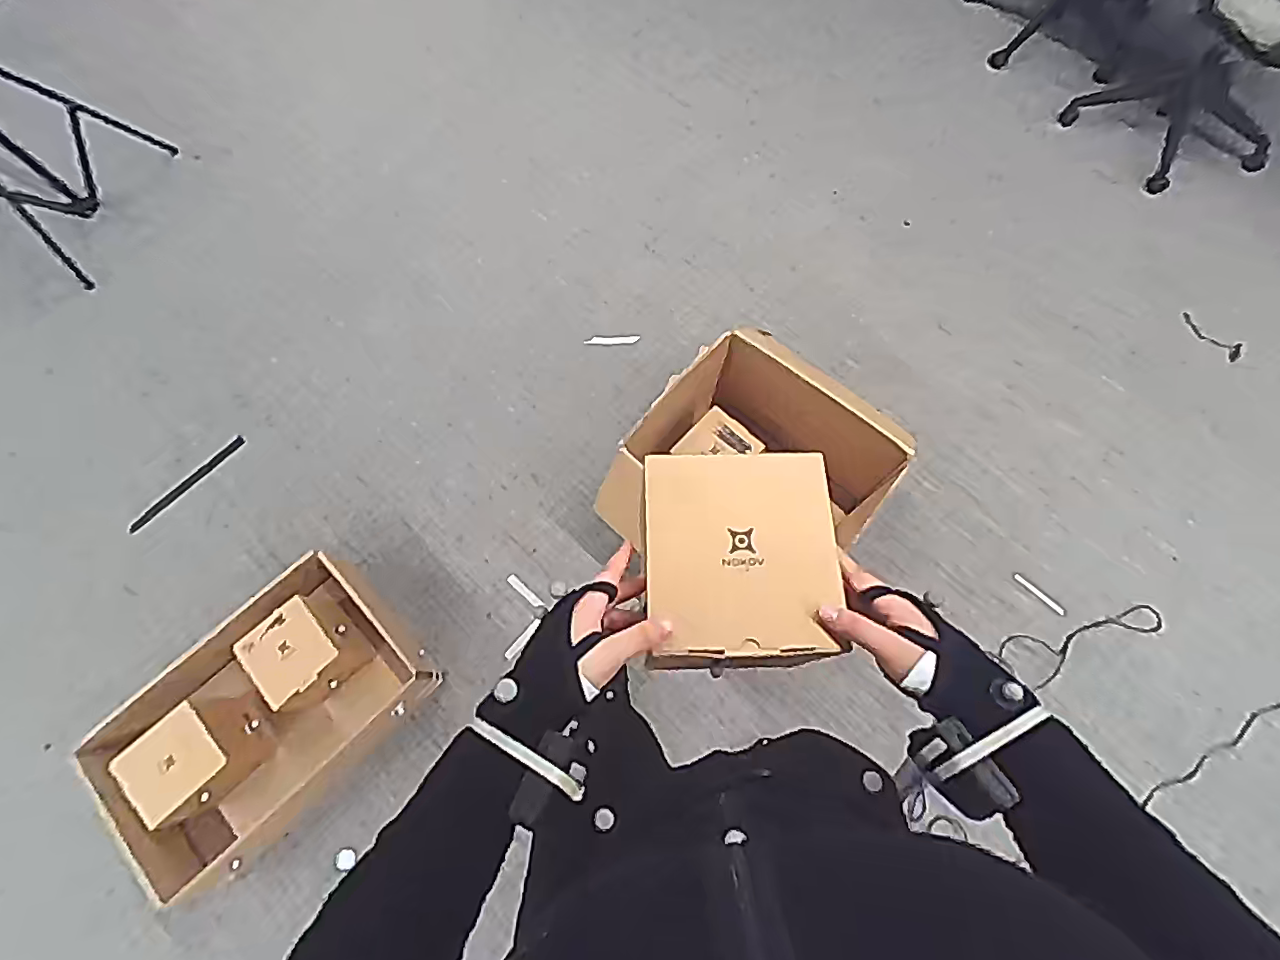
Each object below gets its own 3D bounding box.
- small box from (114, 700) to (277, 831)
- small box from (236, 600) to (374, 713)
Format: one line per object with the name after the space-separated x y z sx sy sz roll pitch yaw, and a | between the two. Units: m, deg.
-0.942 0.600 1.164 0.168 0.176 0.179 43 75 12 | small box
-0.748 0.395 1.231 0.168 0.176 0.179 -42 77 -11 | small box
